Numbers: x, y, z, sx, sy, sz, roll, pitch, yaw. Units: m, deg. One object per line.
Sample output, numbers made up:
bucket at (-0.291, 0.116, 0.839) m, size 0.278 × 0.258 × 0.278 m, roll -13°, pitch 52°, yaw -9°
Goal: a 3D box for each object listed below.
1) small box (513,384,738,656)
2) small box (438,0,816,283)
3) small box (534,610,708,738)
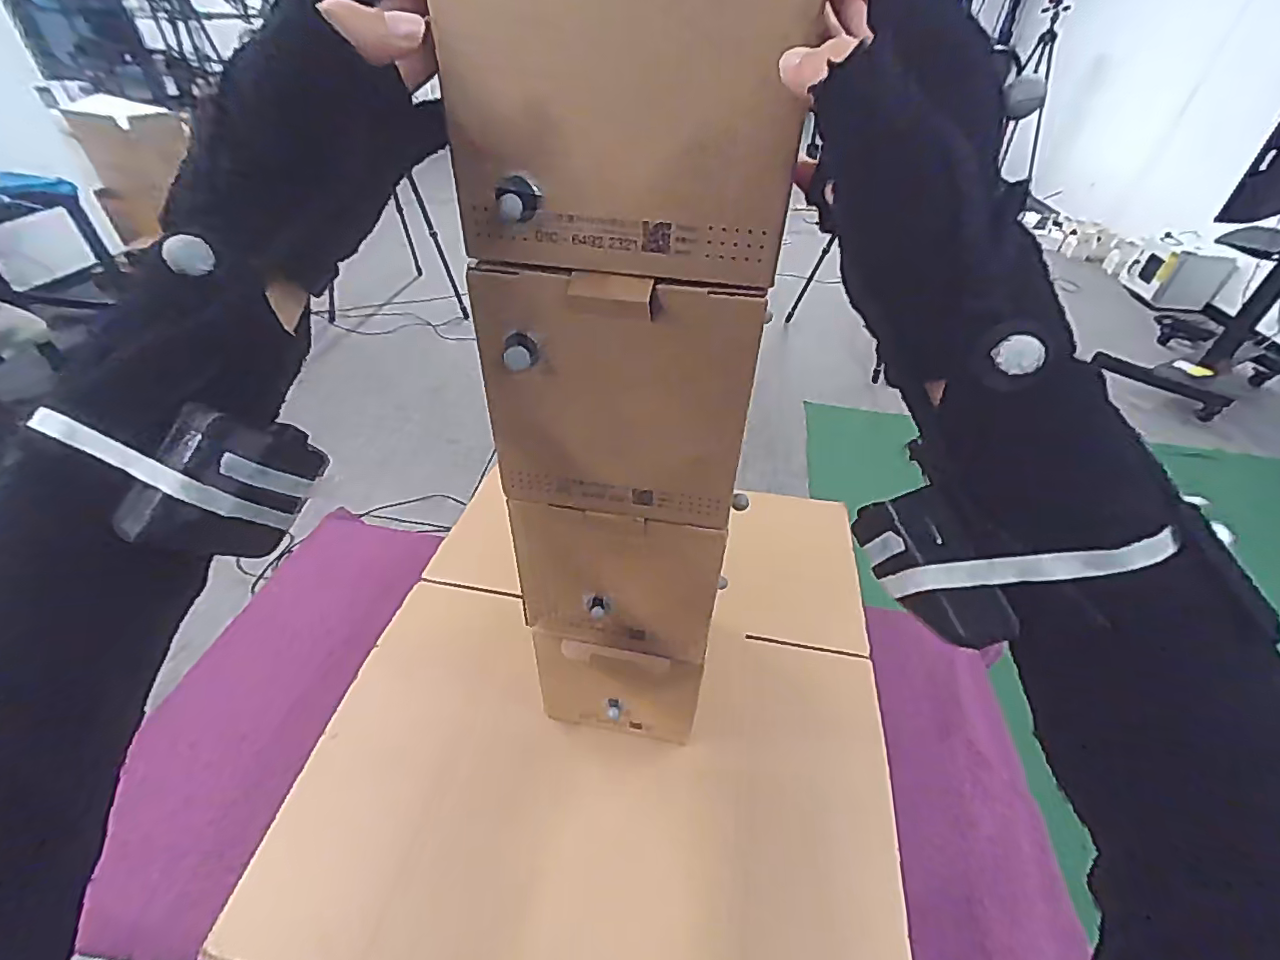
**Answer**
small box at (-0.007, 0.034, 0.512) m, size 0.168 × 0.176 × 0.179 m, roll 9°, pitch 40°, yaw 7°
small box at (0.005, -0.223, 0.305) m, size 0.168 × 0.176 × 0.179 m, roll 9°, pitch 38°, yaw 7°
small box at (-0.010, 0.159, 0.617) m, size 0.168 × 0.176 × 0.179 m, roll 8°, pitch 40°, yaw 7°
